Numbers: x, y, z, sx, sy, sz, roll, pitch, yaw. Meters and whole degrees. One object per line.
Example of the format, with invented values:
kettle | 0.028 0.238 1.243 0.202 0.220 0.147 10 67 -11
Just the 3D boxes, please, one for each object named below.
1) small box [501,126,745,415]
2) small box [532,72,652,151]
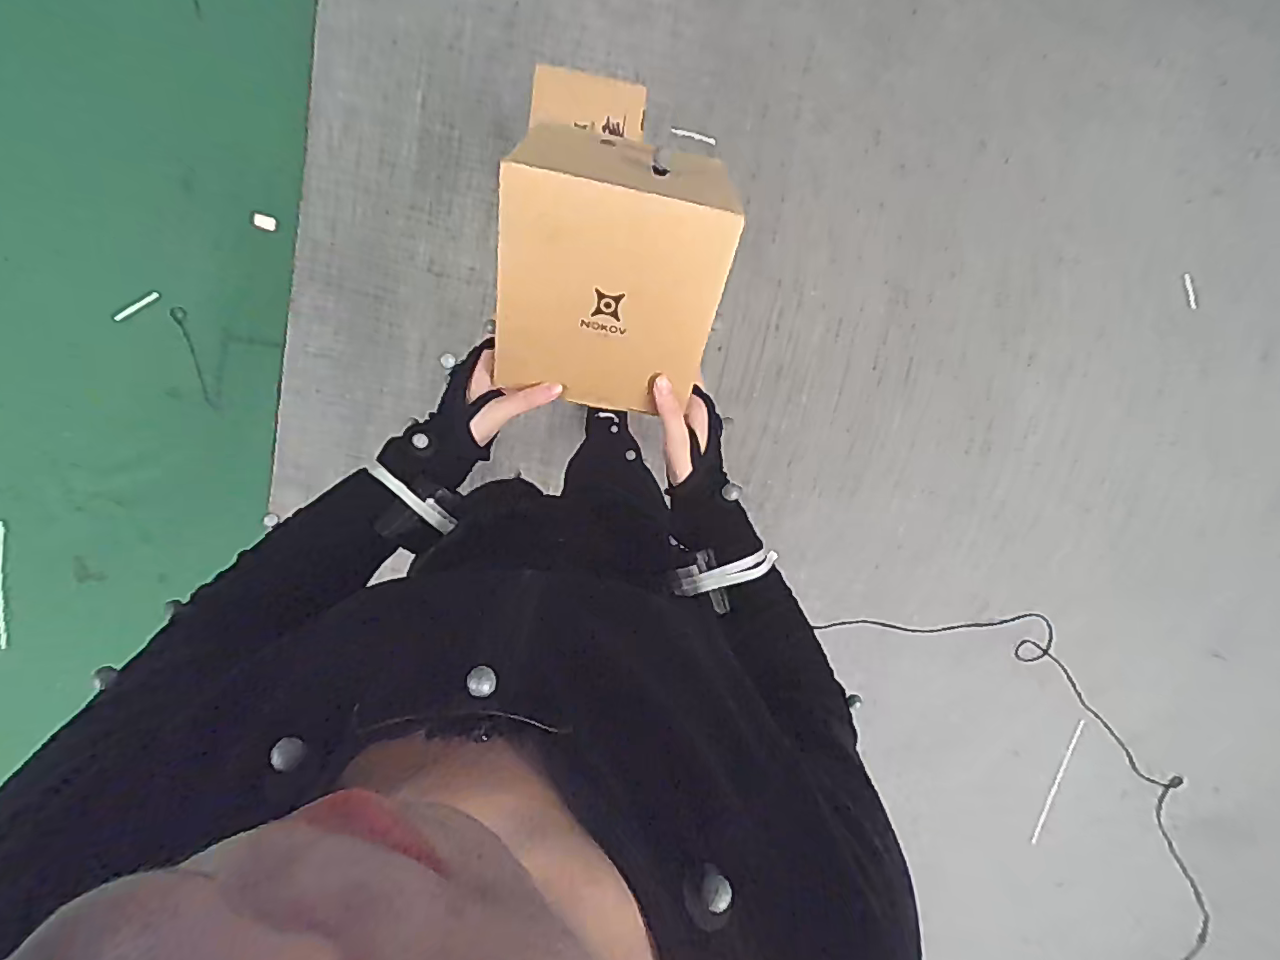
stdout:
small box | -0.022 -0.187 0.478 0.168 0.176 0.179 9 132 -7
small box | -0.085 -0.553 0.931 0.179 0.176 0.168 10 102 -5
